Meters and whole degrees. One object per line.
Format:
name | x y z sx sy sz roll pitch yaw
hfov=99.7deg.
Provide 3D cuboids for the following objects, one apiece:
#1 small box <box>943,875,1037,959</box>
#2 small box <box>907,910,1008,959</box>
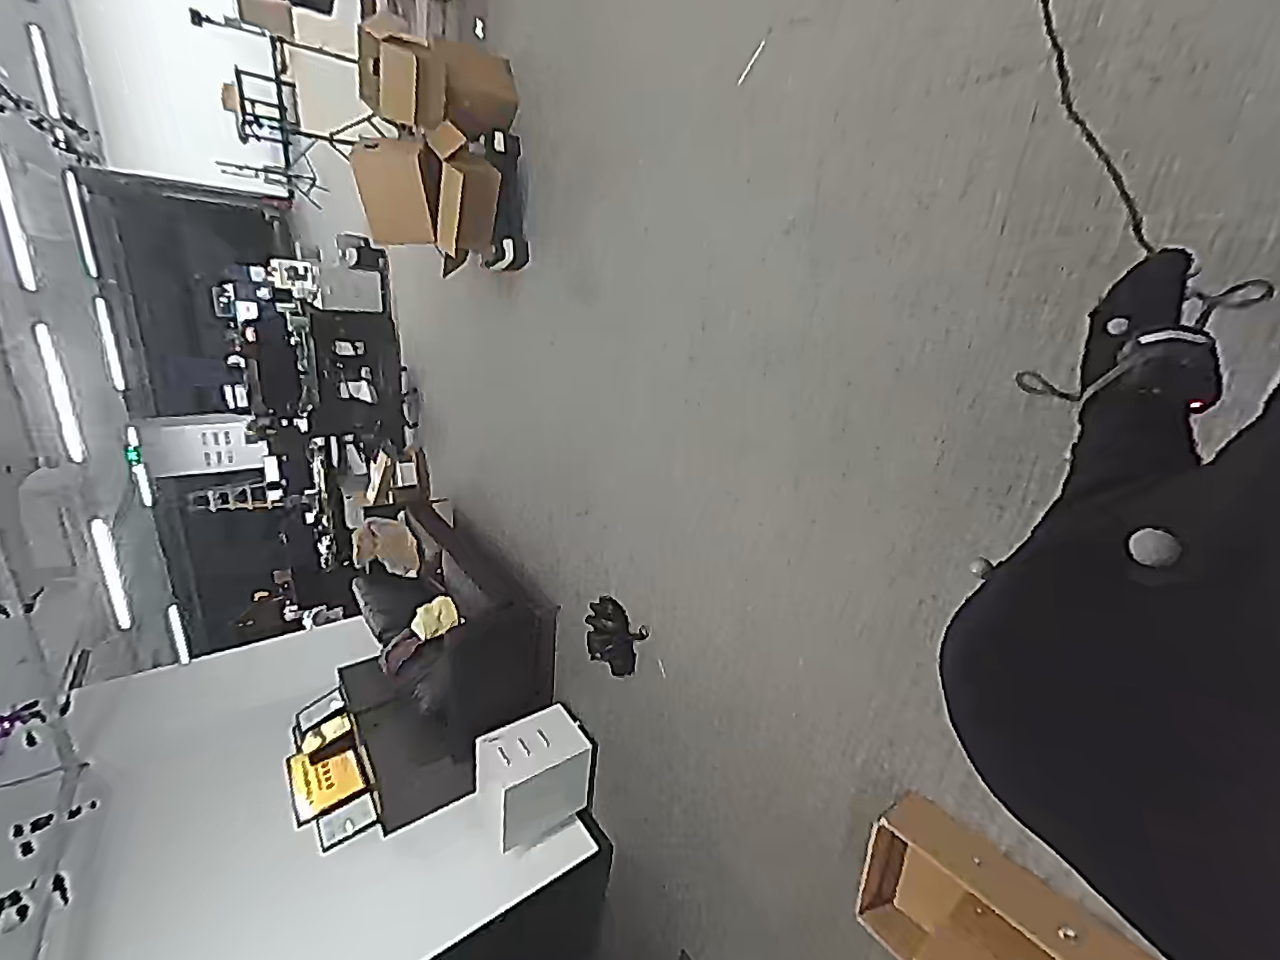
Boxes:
small box | 0.892 1.185 1.399 0.168 0.176 0.179 23 118 50
small box | 0.773 1.201 1.313 0.179 0.176 0.168 24 119 49
